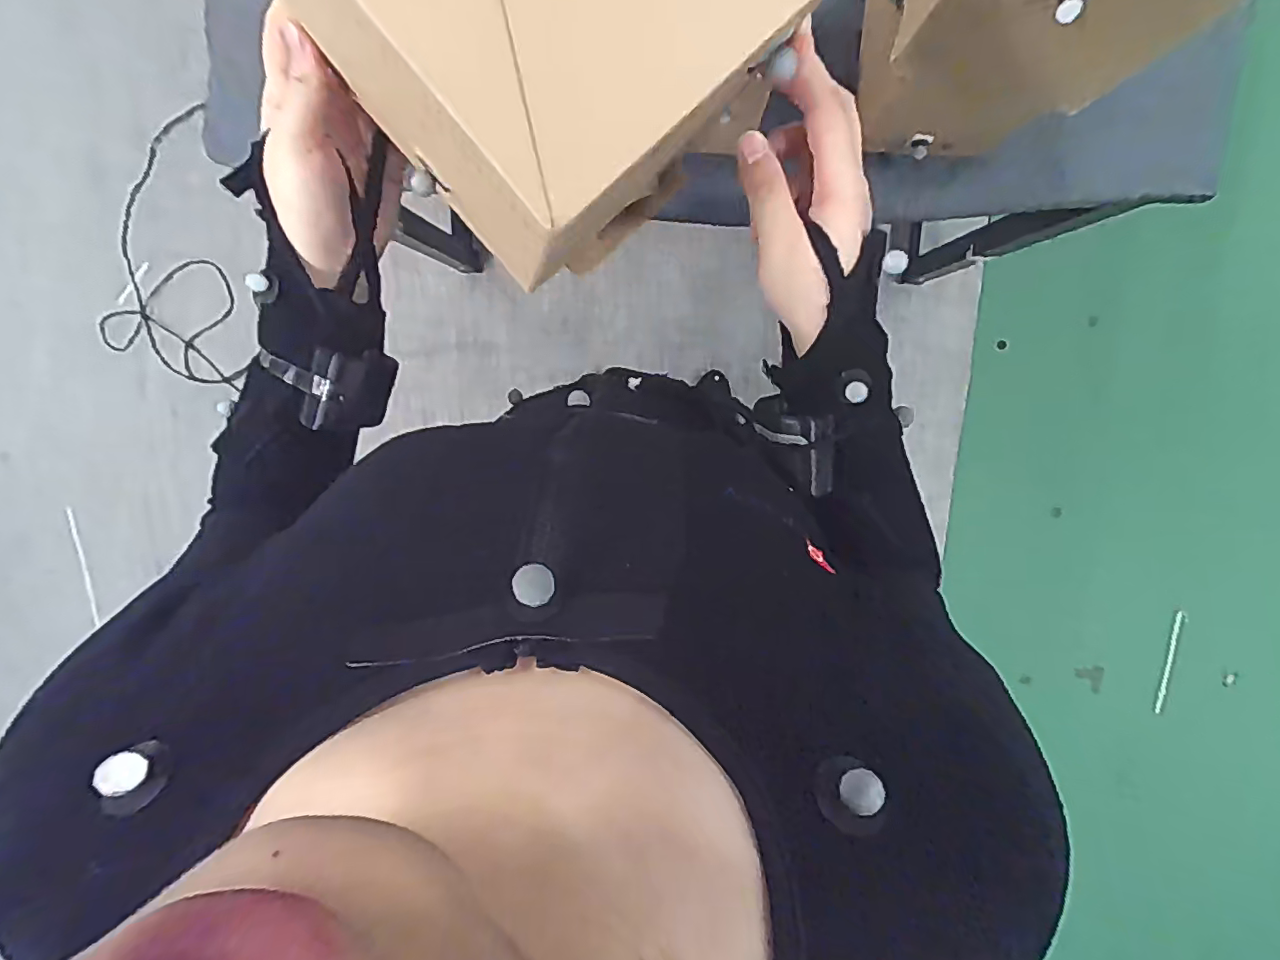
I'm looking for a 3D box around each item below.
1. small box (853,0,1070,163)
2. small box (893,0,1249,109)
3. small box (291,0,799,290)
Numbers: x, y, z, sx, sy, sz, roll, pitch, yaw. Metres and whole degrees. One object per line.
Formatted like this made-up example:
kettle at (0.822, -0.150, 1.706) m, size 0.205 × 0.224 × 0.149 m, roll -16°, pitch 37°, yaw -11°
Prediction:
small box at (0.333, -0.455, 0.554) m, size 0.168 × 0.176 × 0.179 m, roll 3°, pitch 101°, yaw 3°
small box at (0.324, -0.412, 0.398) m, size 0.179 × 0.176 × 0.168 m, roll 14°, pitch 101°, yaw 1°
small box at (-0.050, -0.220, 0.252) m, size 0.168 × 0.176 × 0.179 m, roll -44°, pitch 110°, yaw -3°
